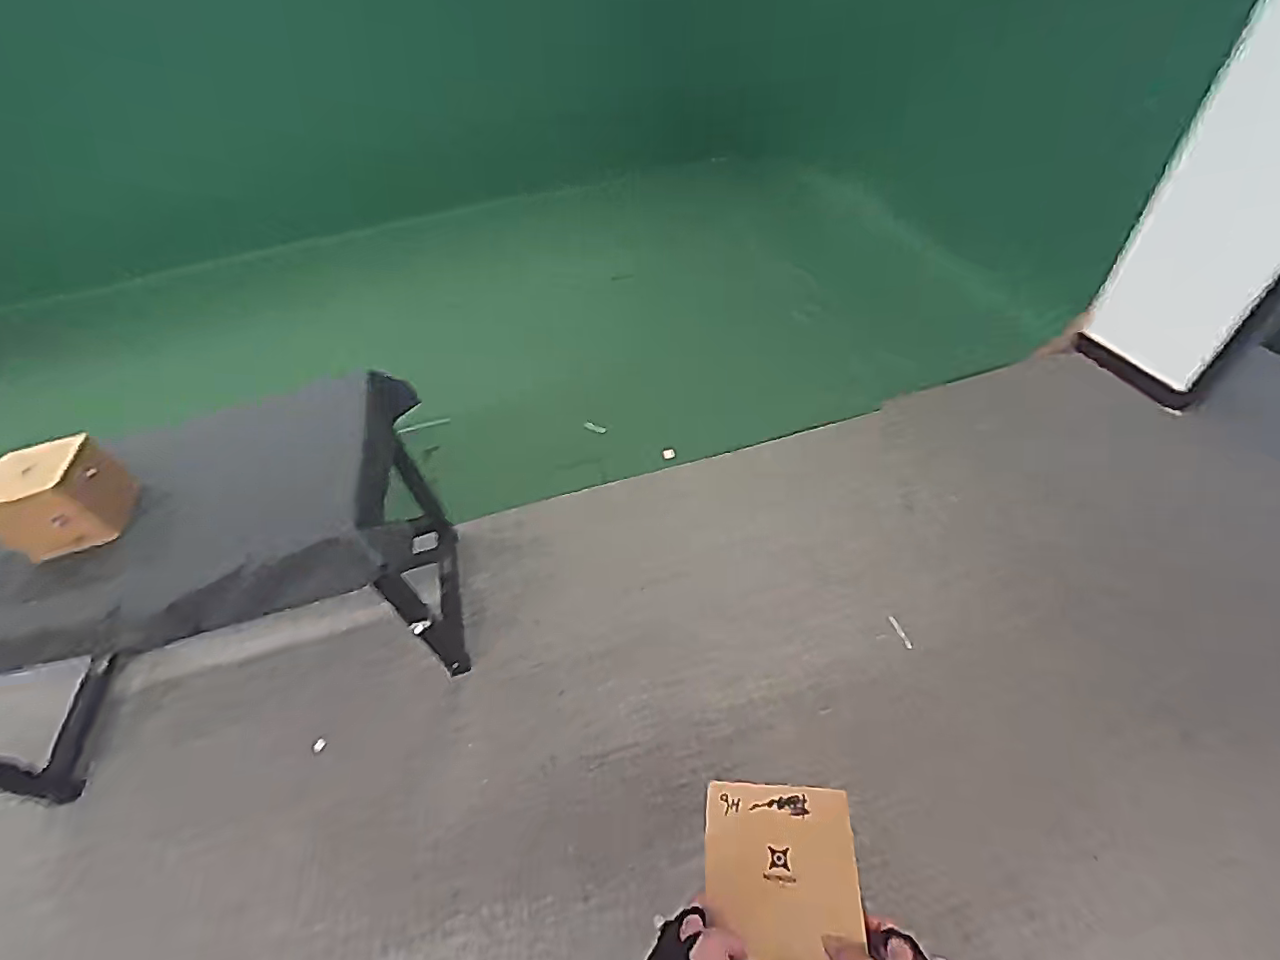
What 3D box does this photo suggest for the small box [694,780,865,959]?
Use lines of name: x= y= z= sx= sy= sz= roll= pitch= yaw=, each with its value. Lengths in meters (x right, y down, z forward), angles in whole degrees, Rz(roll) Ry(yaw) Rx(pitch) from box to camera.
small box: x=0.161 y=0.478 z=0.623 sx=0.168 sy=0.176 sz=0.179 roll=-4 pitch=37 yaw=14

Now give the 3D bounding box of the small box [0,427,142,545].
small box: x=-1.231 y=0.019 z=1.155 sx=0.168 sy=0.176 sz=0.179 roll=-16 pitch=46 yaw=-8
